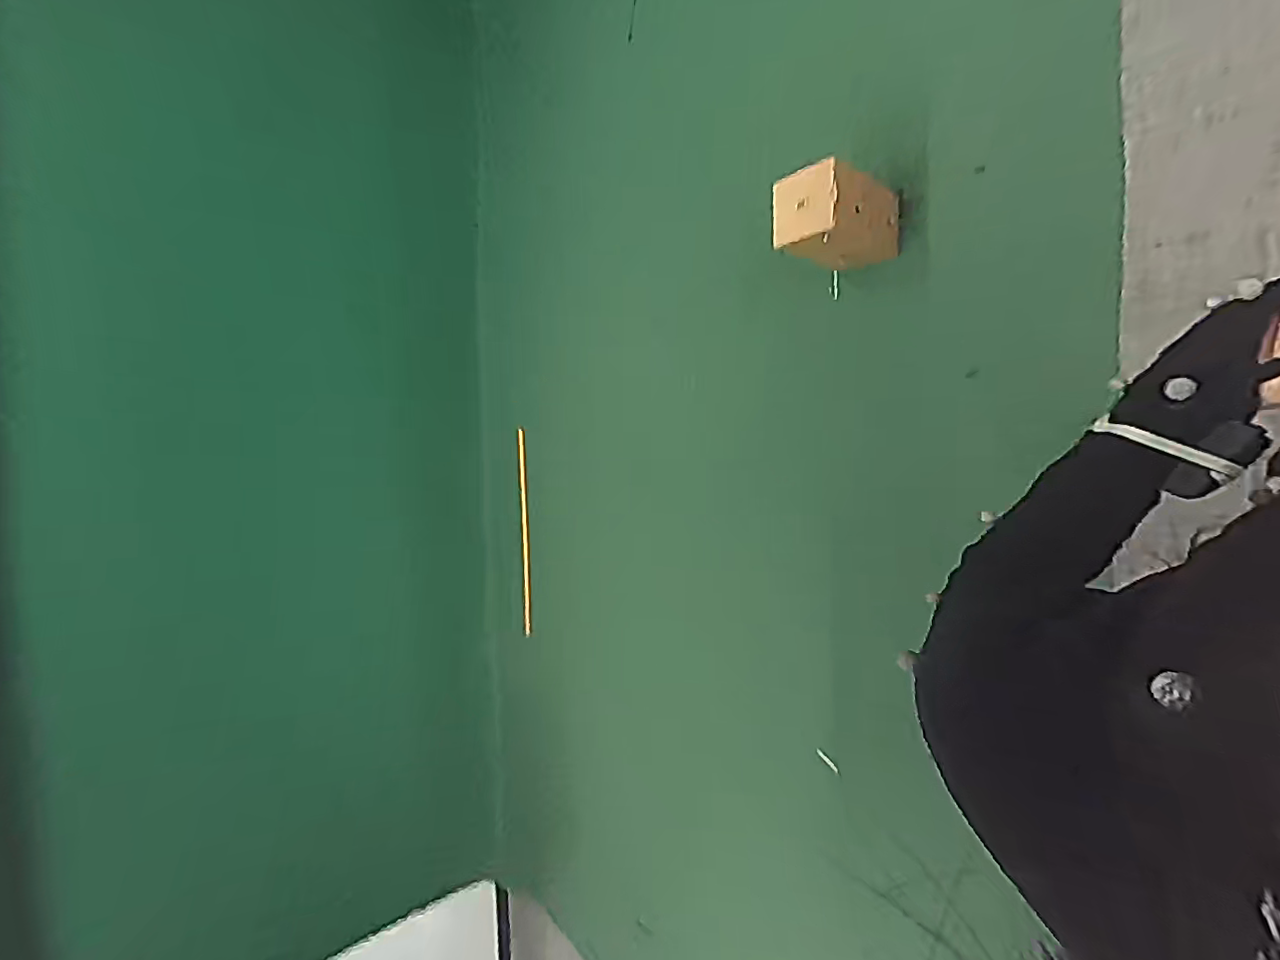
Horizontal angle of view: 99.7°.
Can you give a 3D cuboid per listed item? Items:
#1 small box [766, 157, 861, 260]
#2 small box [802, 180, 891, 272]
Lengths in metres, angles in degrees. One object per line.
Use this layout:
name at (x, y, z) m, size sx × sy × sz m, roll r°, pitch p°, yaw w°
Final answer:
small box at (0.445, -0.683, 1.388) m, size 0.179 × 0.176 × 0.168 m, roll 0°, pitch 93°, yaw 49°
small box at (0.569, -0.690, 1.493) m, size 0.179 × 0.176 × 0.168 m, roll 2°, pitch 95°, yaw 49°
